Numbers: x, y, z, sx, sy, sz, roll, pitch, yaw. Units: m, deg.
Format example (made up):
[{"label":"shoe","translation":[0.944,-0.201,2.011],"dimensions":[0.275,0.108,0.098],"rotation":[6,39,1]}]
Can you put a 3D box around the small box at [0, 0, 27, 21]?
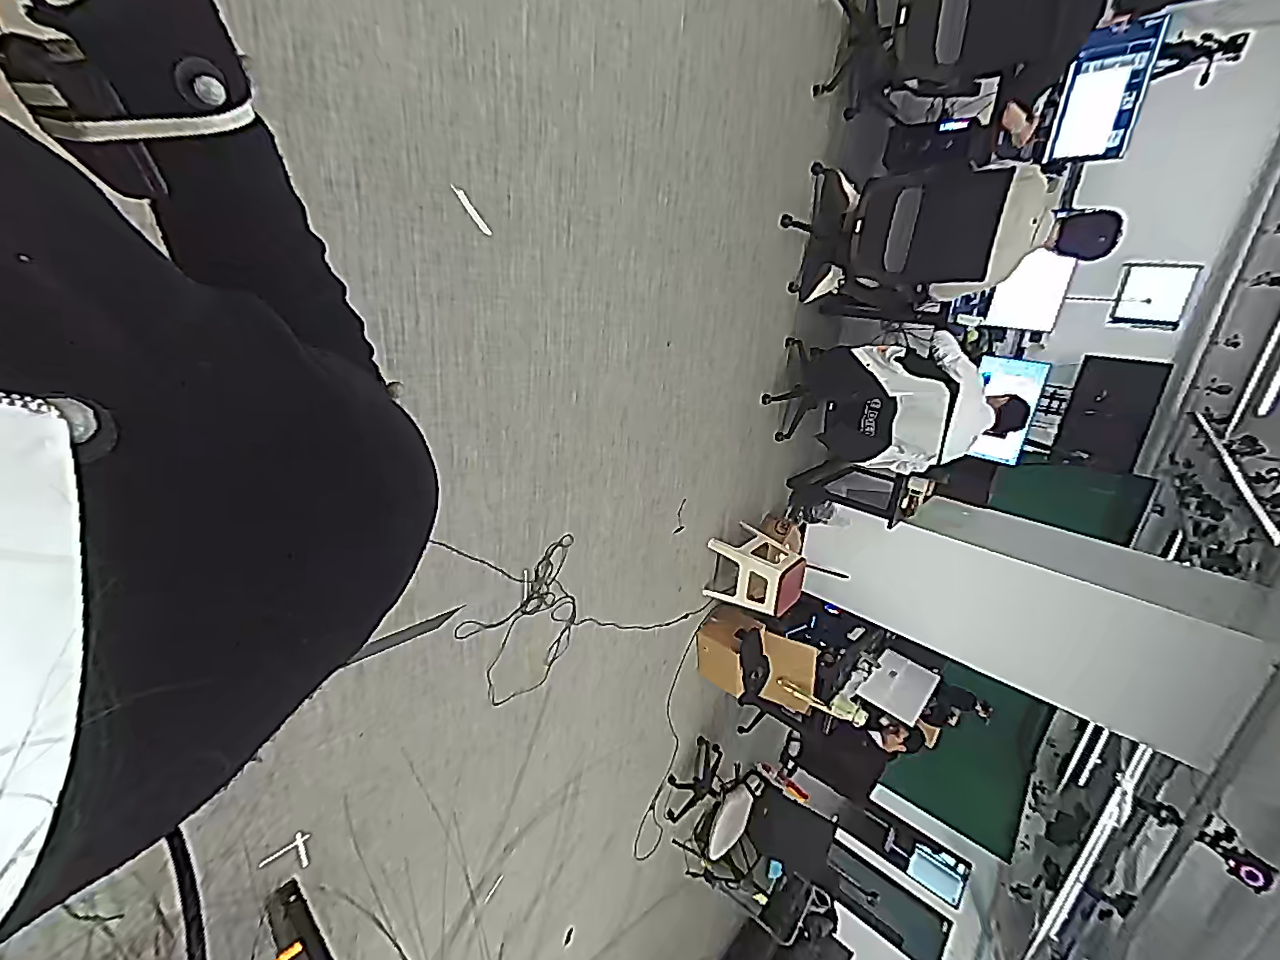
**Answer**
[{"label":"small box","translation":[-0.697,-0.545,0.477],"dimensions":[0.179,0.176,0.168],"rotation":[-15,118,-49]}]
